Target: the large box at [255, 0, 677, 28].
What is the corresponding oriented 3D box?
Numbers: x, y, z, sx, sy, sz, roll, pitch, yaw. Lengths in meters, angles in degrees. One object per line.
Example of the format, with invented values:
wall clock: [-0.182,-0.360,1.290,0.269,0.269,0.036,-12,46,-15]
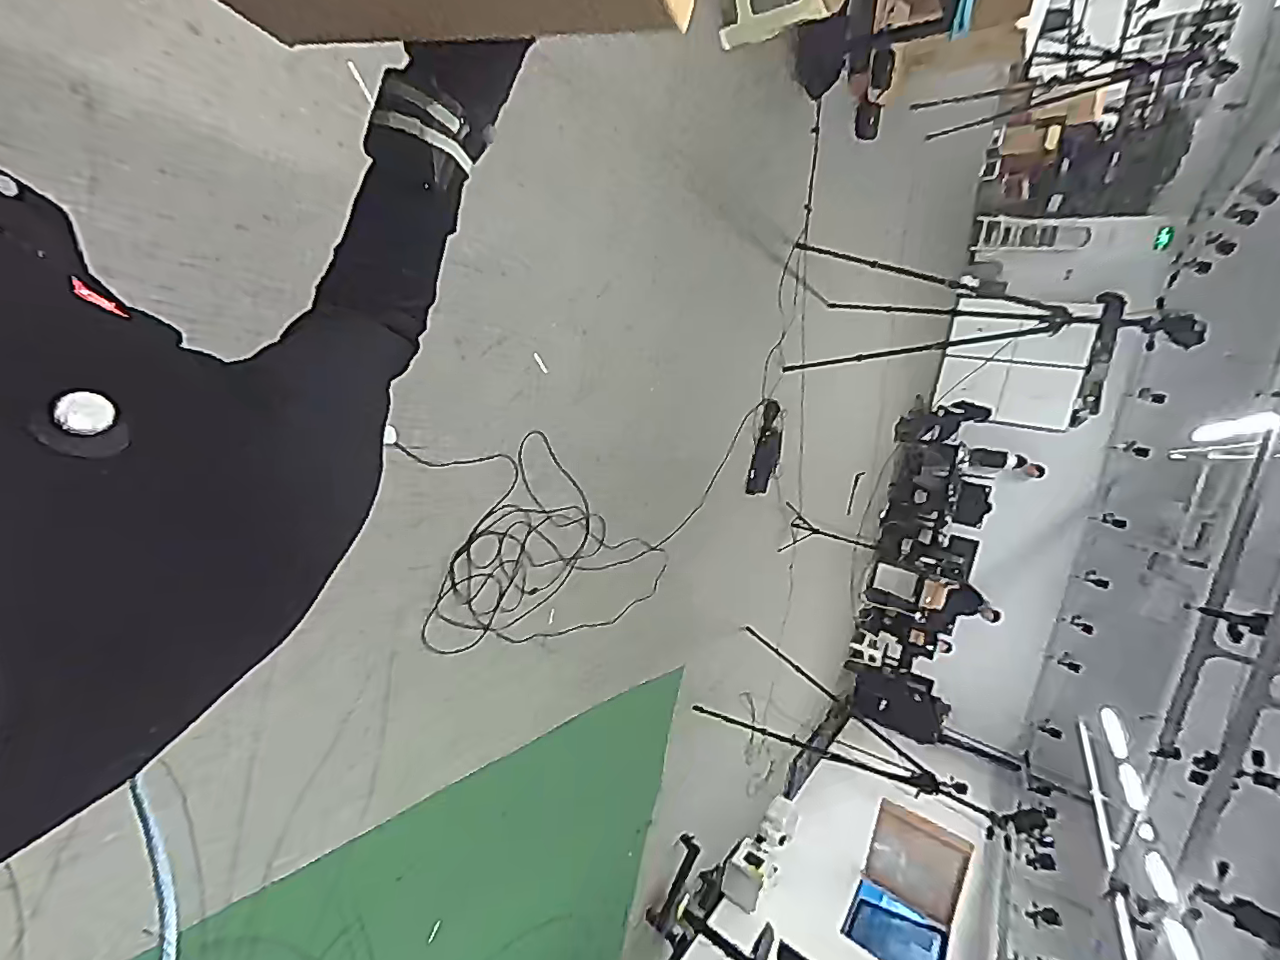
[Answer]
large box: [-0.159,-0.418,0.143,0.408,0.320,0.320,-17,121,-69]
